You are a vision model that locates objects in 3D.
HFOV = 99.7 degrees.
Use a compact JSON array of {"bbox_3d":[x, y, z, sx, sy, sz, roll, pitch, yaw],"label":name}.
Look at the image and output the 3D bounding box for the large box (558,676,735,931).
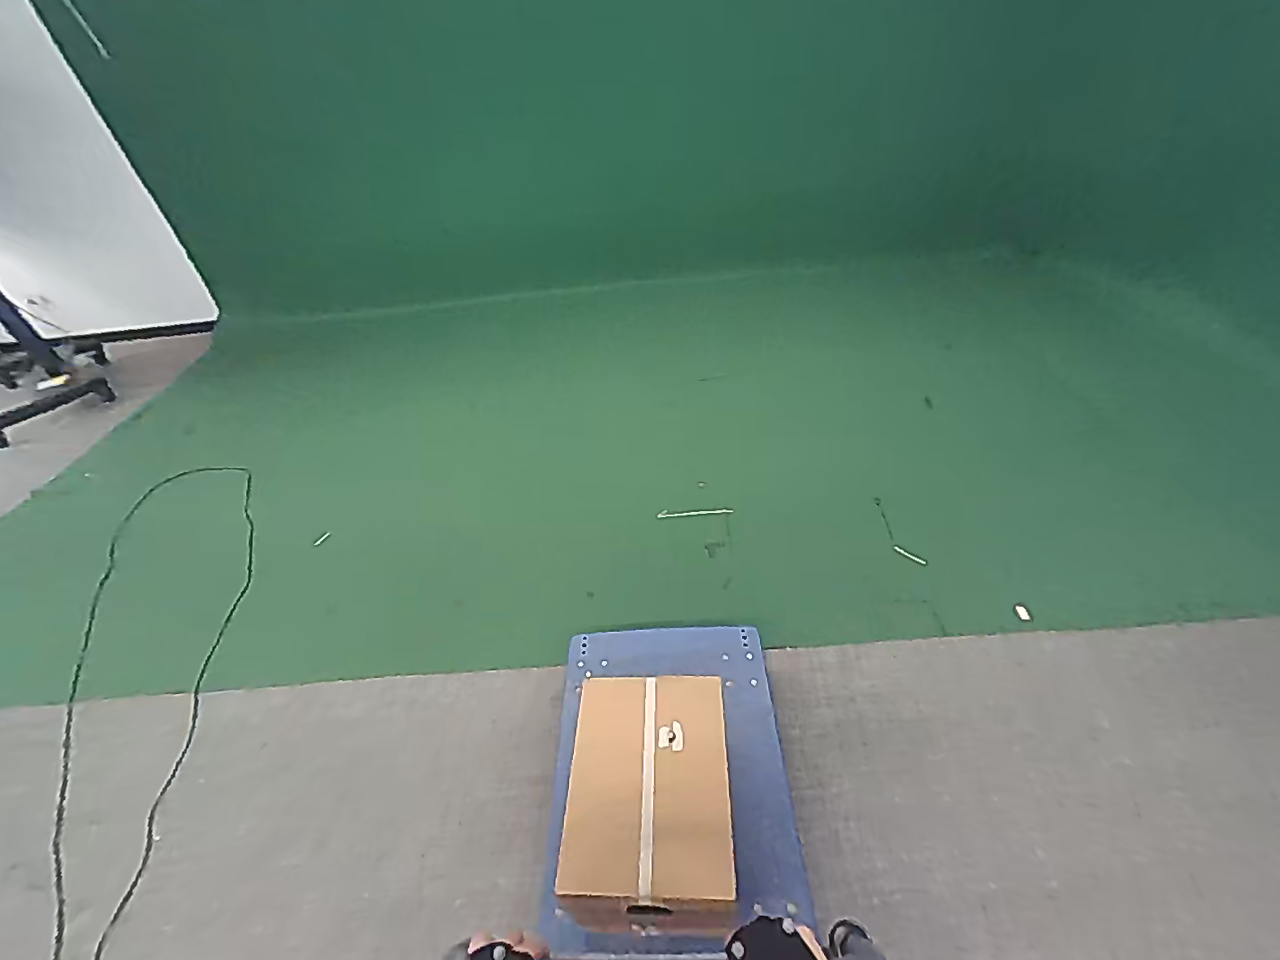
[{"bbox_3d":[0.029,0.689,1.168,0.320,0.320,0.408,-2,40,5],"label":"large box"}]
